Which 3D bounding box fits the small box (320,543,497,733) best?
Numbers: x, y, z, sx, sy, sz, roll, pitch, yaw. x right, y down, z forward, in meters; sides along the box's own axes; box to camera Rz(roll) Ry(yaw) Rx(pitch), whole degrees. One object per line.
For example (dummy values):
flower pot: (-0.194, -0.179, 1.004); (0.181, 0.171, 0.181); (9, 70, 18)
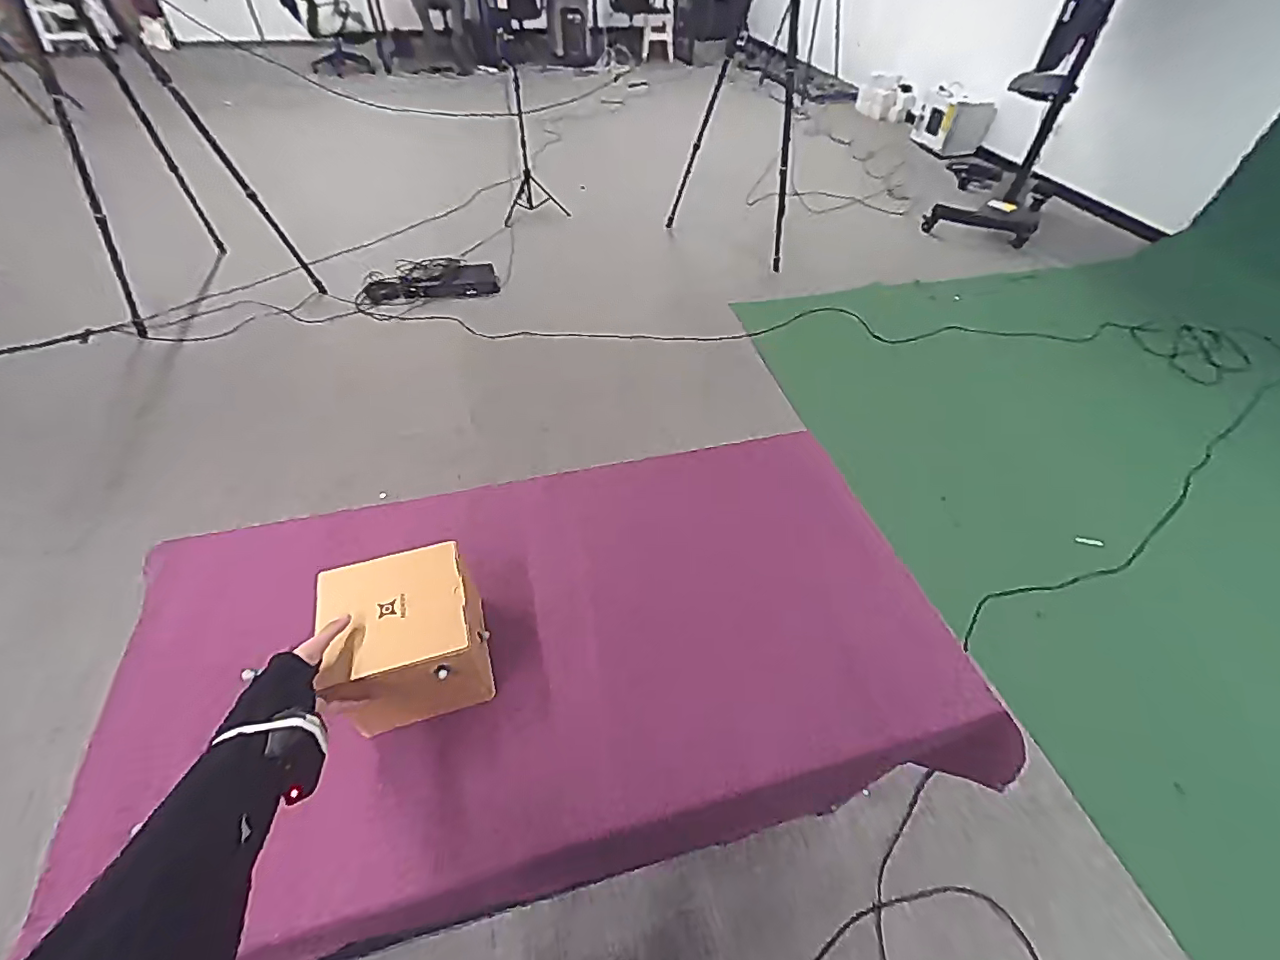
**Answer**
small box: (-0.307, 0.217, 0.737); (0.179, 0.176, 0.168); (-13, 50, -15)
